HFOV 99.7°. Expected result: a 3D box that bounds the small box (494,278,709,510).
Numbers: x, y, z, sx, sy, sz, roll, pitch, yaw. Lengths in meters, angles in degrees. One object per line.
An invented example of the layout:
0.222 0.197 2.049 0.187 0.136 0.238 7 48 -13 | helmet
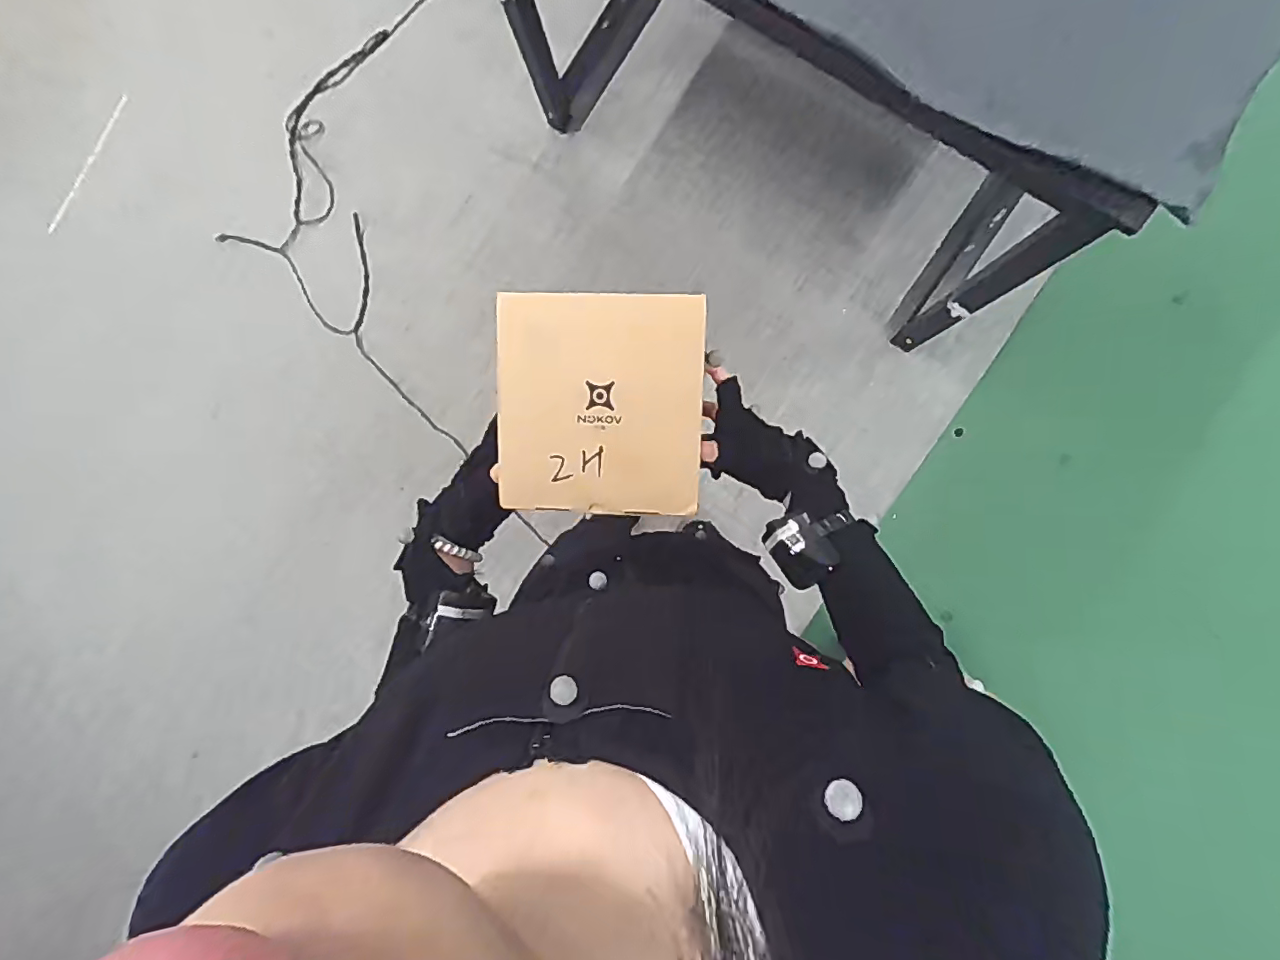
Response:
-0.028 -0.077 0.504 0.168 0.176 0.179 3 99 4 | small box
